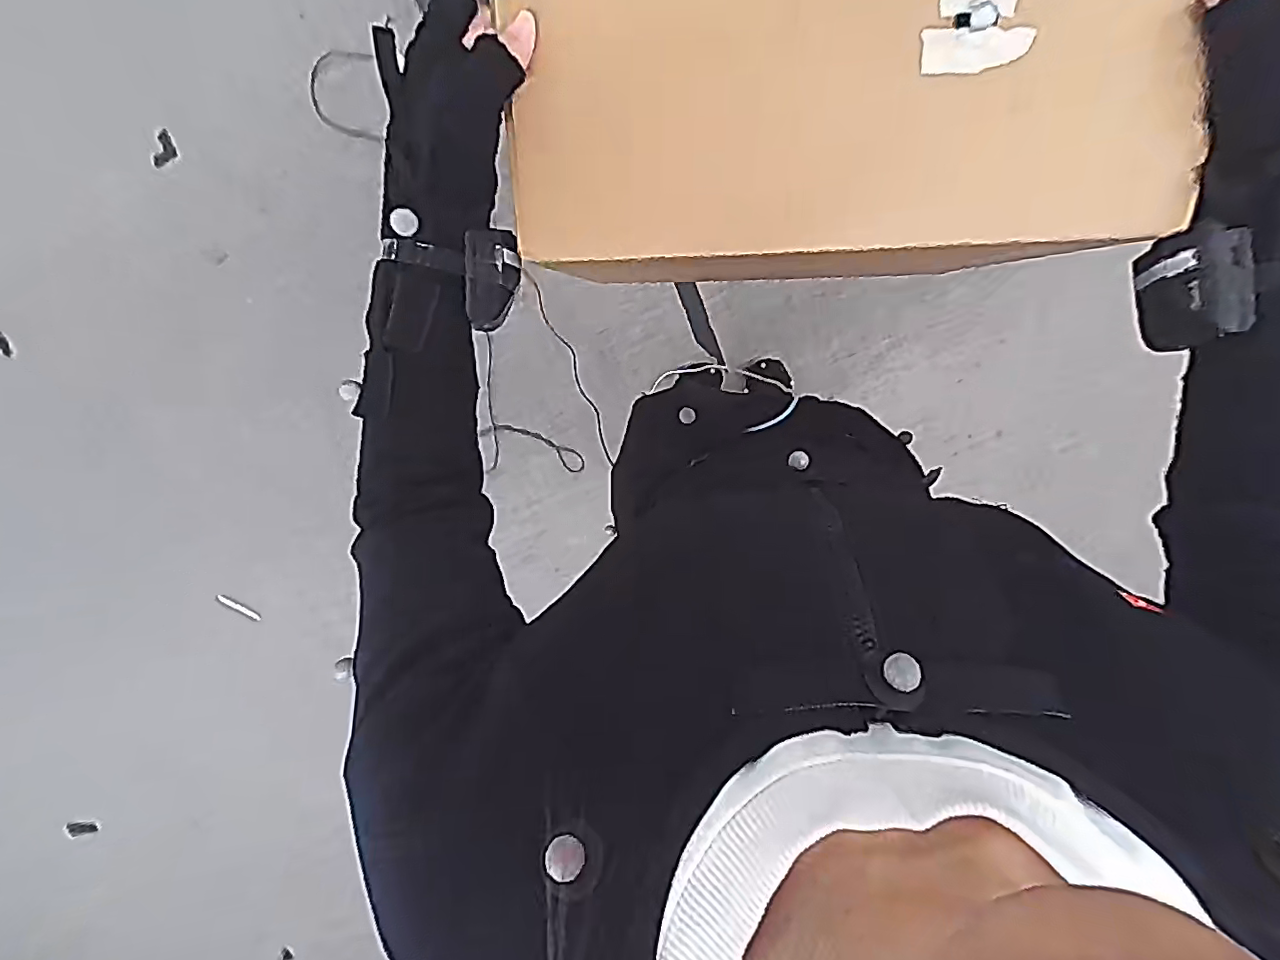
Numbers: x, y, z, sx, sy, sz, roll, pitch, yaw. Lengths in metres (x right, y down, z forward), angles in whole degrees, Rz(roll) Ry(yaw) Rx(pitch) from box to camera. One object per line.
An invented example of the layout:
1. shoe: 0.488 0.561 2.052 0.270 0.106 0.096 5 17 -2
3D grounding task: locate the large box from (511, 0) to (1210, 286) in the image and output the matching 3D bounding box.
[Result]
1. large box: 0.126 -0.345 0.449 0.408 0.320 0.320 -2 108 4
